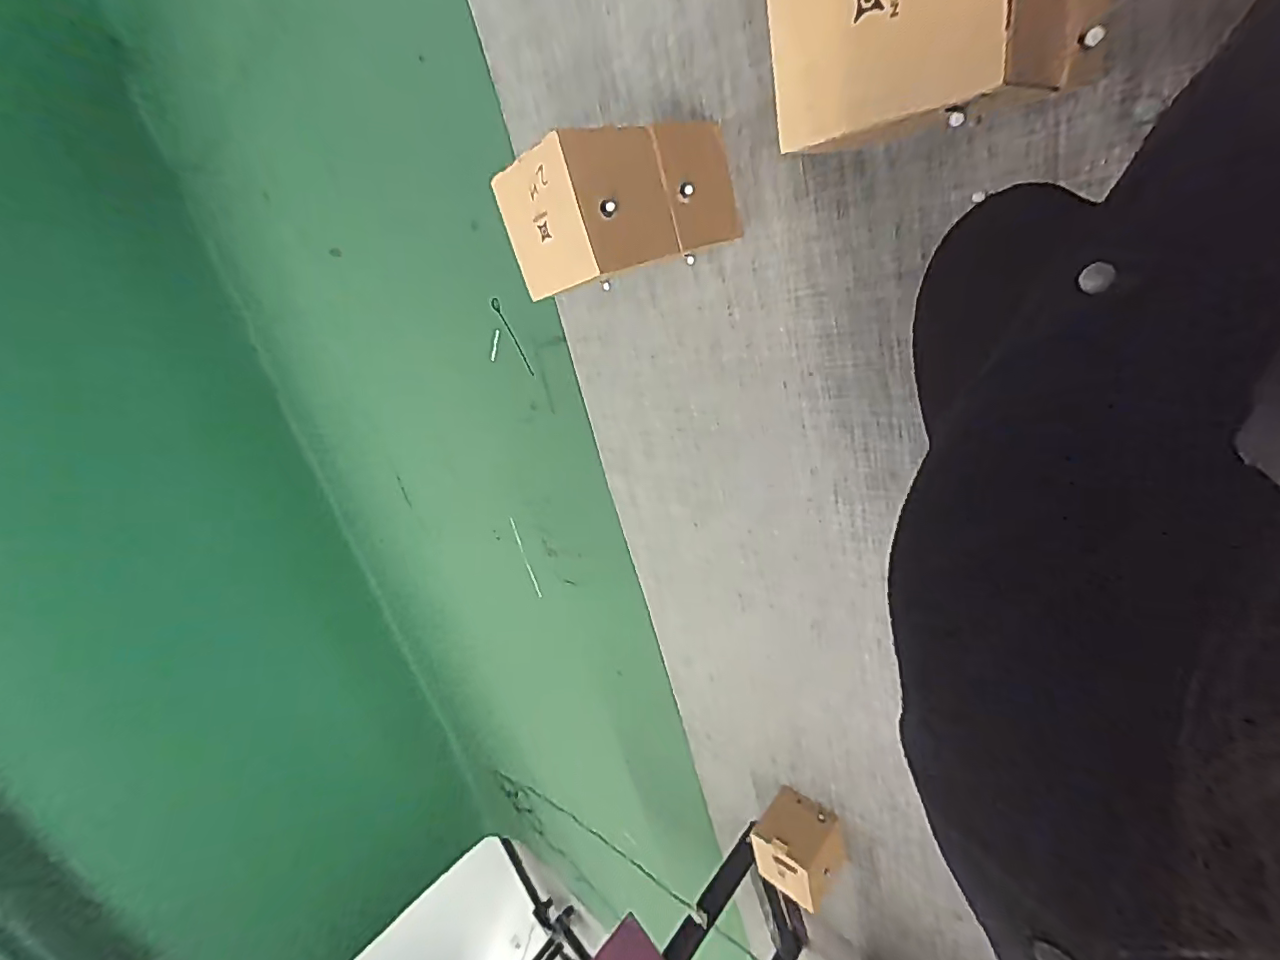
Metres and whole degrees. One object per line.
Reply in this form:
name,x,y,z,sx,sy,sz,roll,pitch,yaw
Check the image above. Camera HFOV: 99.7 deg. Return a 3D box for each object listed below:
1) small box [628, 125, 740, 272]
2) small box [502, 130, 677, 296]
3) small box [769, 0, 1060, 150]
small box,0.045,-0.462,0.894,0.168,0.176,0.179,5,118,46
small box,-0.067,-0.391,0.798,0.168,0.176,0.179,3,117,46
small box,0.231,-0.393,0.457,0.179,0.176,0.168,12,123,44
